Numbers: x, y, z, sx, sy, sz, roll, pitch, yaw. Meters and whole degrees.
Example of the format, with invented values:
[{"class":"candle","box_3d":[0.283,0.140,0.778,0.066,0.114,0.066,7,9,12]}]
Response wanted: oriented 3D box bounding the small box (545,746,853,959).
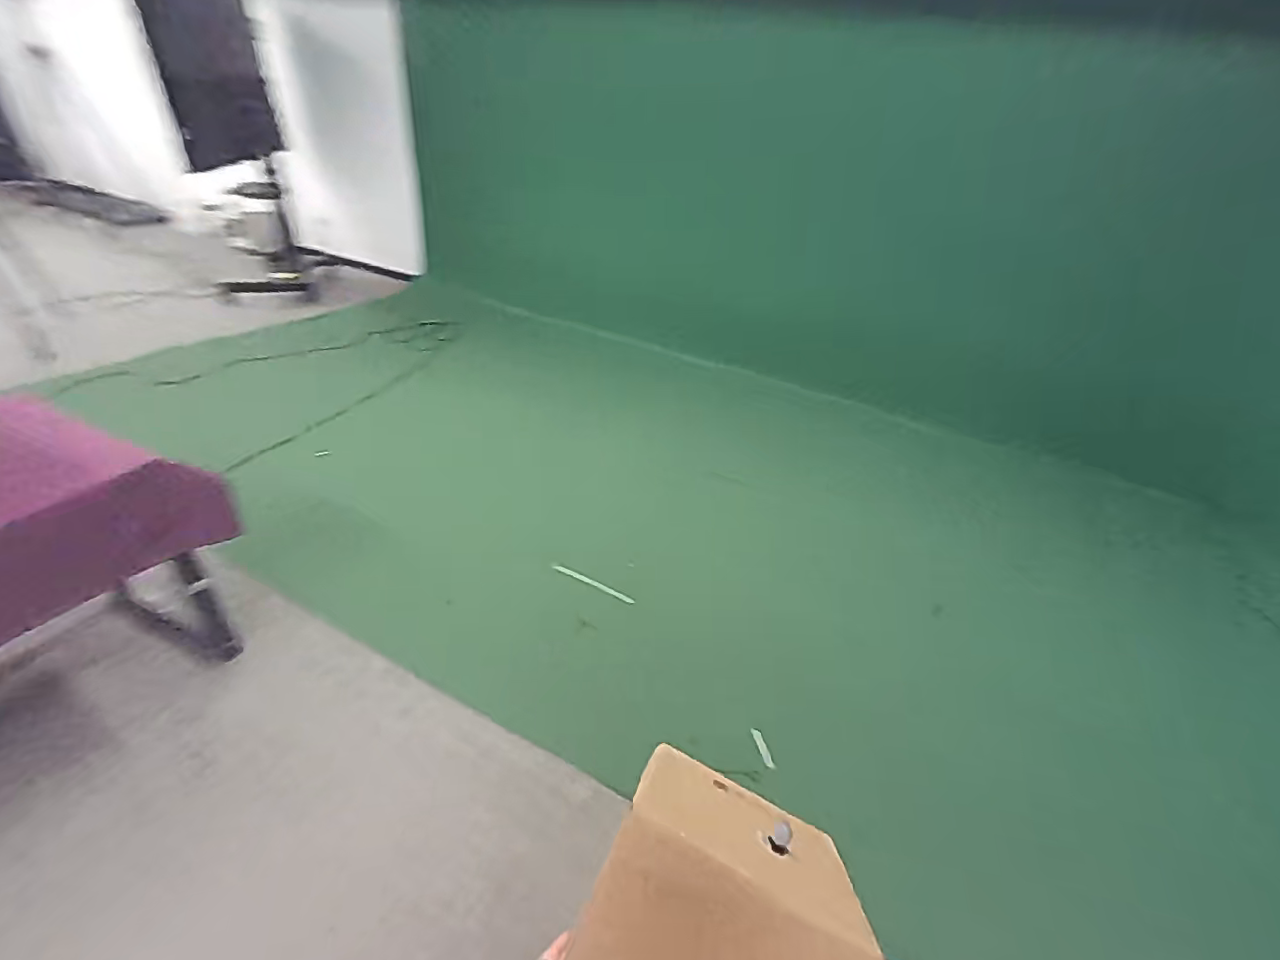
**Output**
[{"class":"small box","box_3d":[0.031,0.334,0.404,0.168,0.179,0.176,23,-6,12]}]
